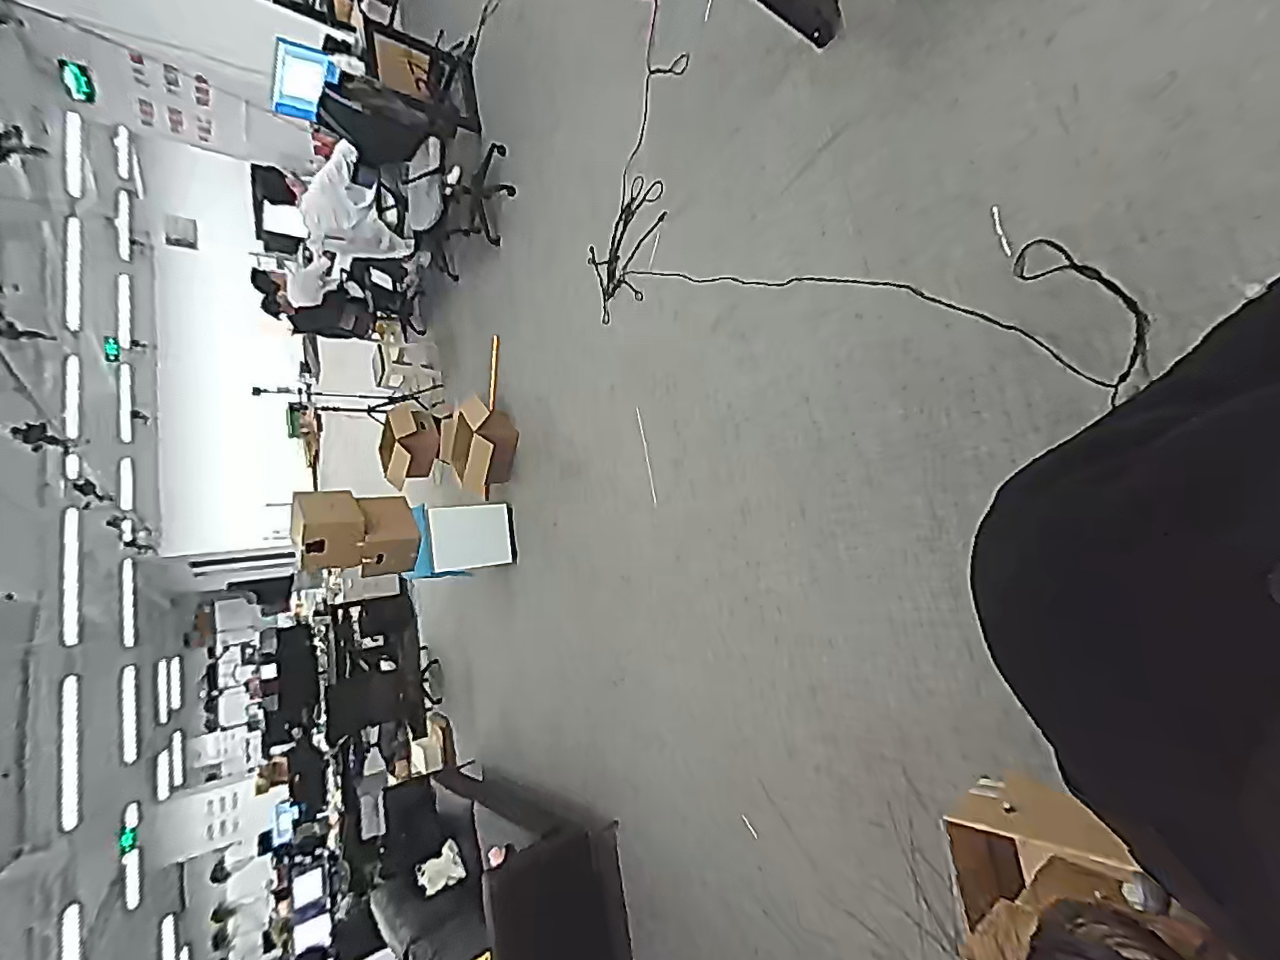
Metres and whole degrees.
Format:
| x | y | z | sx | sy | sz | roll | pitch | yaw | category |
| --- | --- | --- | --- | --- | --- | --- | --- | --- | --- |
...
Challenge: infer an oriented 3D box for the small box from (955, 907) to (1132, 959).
| x | y | z | sx | sy | sz | roll | pitch | yaw | category |
| --- | --- | --- | --- | --- | --- | --- | --- | --- | --- |
| 0.569 | 0.736 | 0.737 | 0.179 | 0.176 | 0.168 | -14 | 79 | 54 | small box |

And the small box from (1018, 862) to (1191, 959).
| x | y | z | sx | sy | sz | roll | pitch | yaw | category |
| --- | --- | --- | --- | --- | --- | --- | --- | --- | --- |
| 0.709 | 0.732 | 0.823 | 0.168 | 0.176 | 0.179 | -12 | 82 | 53 | small box |
